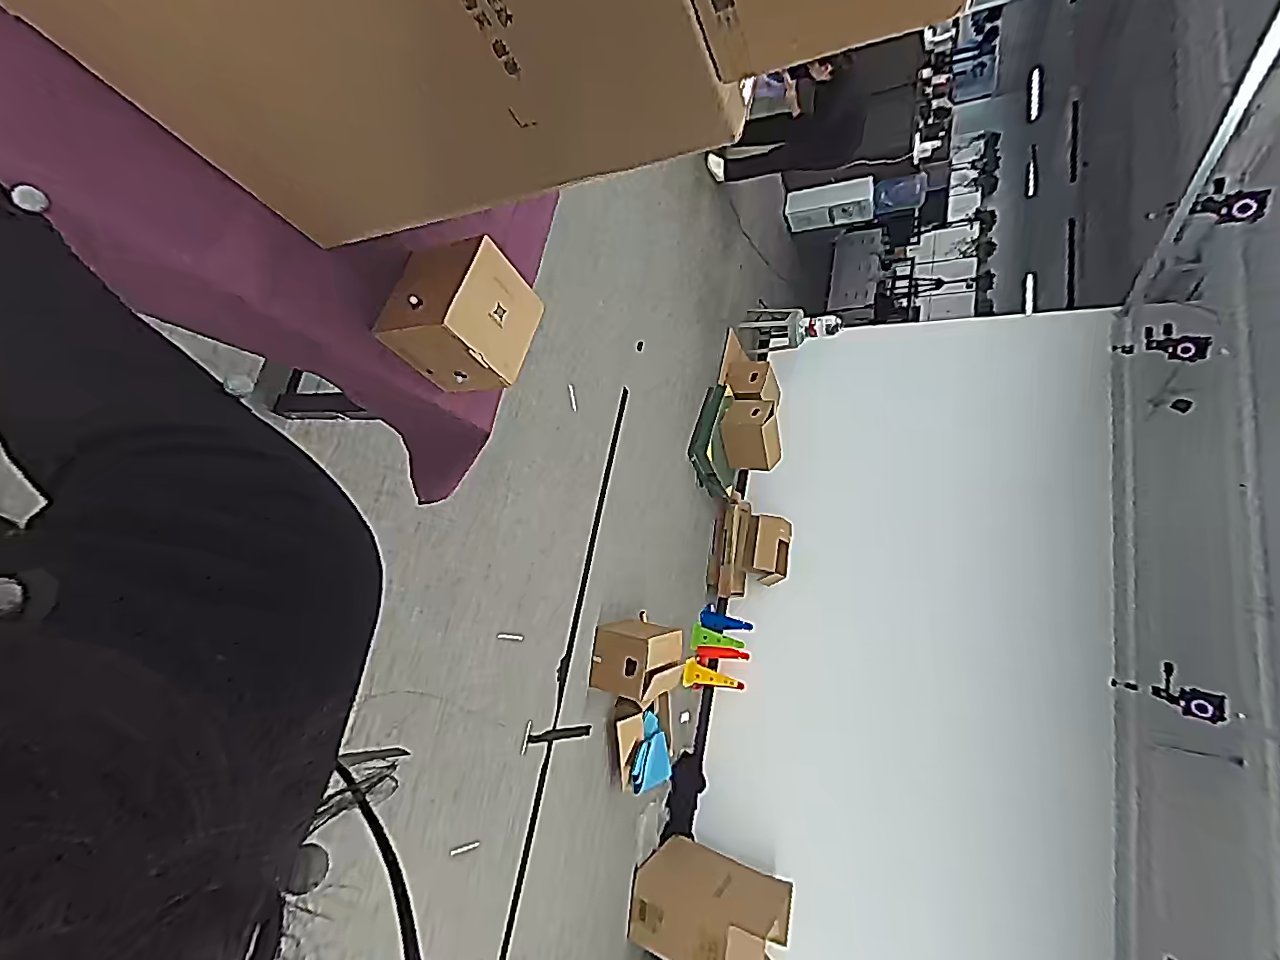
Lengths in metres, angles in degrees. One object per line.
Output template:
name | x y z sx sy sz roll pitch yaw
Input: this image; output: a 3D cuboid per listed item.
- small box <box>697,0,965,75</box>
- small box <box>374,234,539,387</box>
small box | 0.120 -0.409 0.342 0.168 0.176 0.179 36 65 -57
small box | -0.301 -0.268 0.893 0.168 0.176 0.179 46 52 -54
